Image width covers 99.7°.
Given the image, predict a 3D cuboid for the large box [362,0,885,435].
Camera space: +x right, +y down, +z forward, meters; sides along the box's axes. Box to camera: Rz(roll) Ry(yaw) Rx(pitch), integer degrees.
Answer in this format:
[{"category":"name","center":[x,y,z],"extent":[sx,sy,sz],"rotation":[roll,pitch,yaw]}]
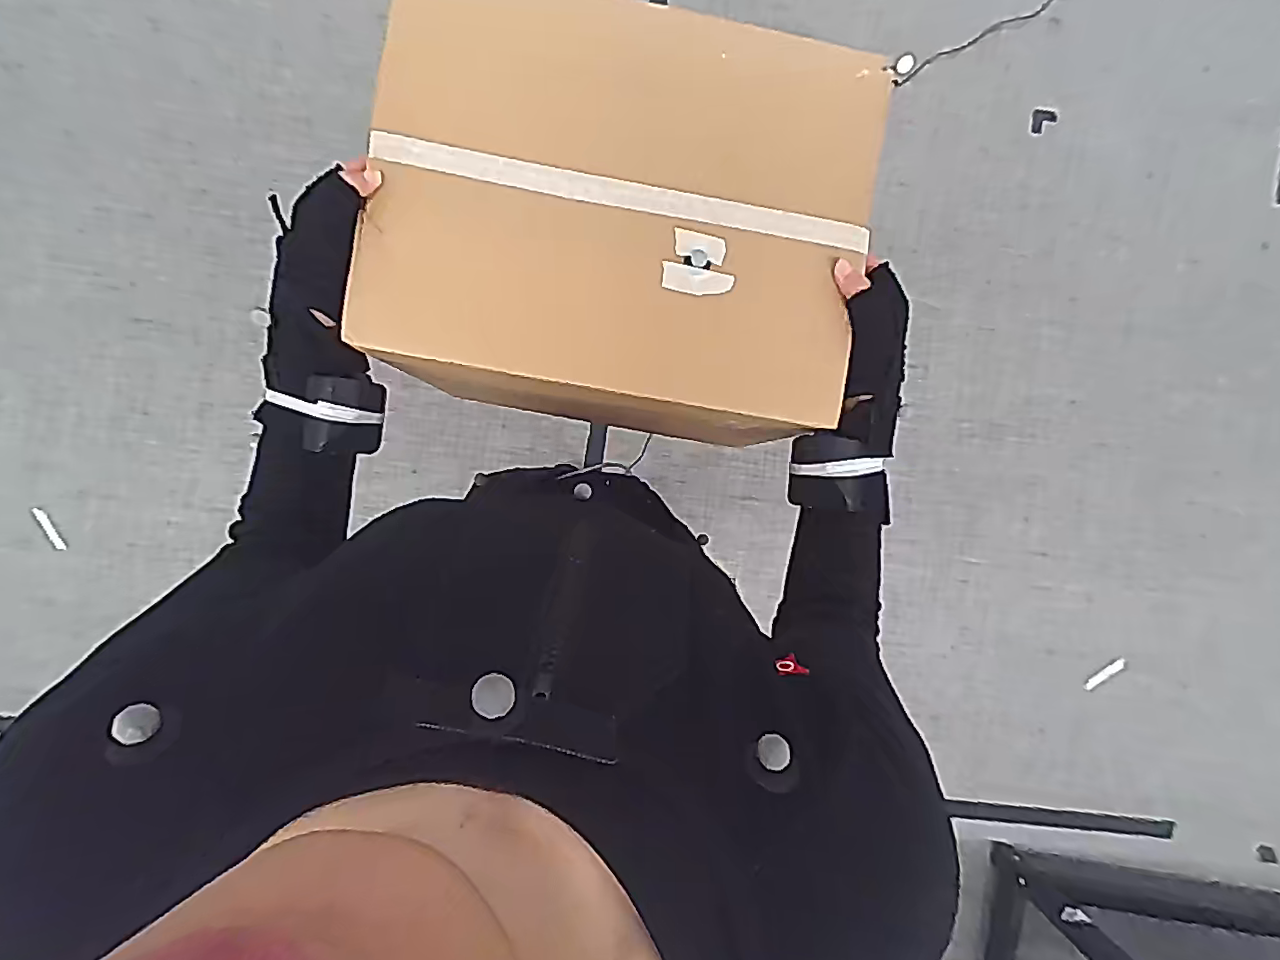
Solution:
[{"category":"large box","center":[-0.019,-0.239,0.595],"extent":[0.408,0.320,0.320],"rotation":[9,91,-4]}]
